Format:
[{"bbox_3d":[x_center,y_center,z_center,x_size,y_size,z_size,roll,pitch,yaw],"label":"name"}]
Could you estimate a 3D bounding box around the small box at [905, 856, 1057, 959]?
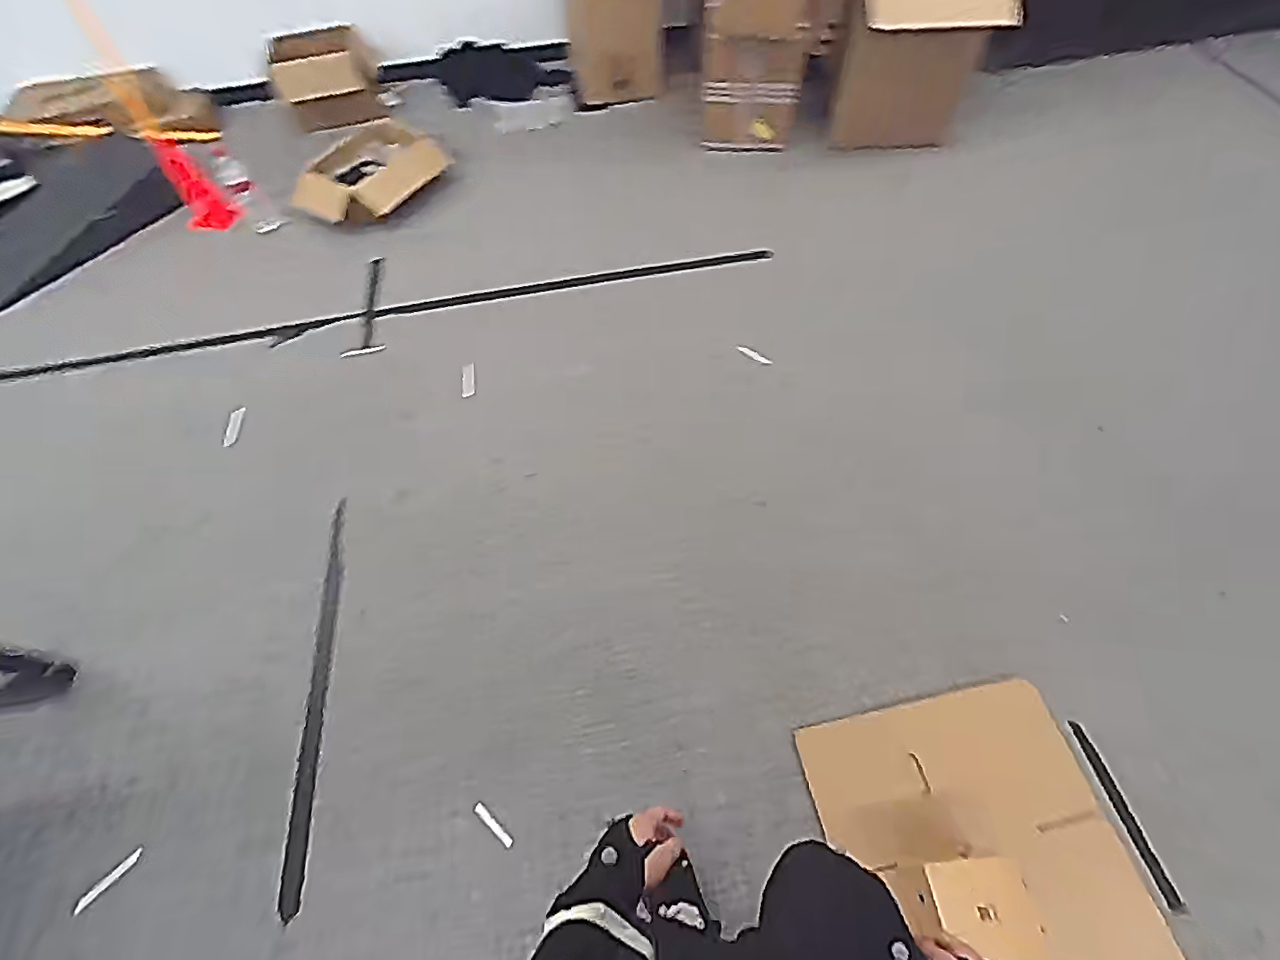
[{"bbox_3d":[0.638,0.834,1.042,0.179,0.176,0.168,-6,57,0],"label":"small box"}]
